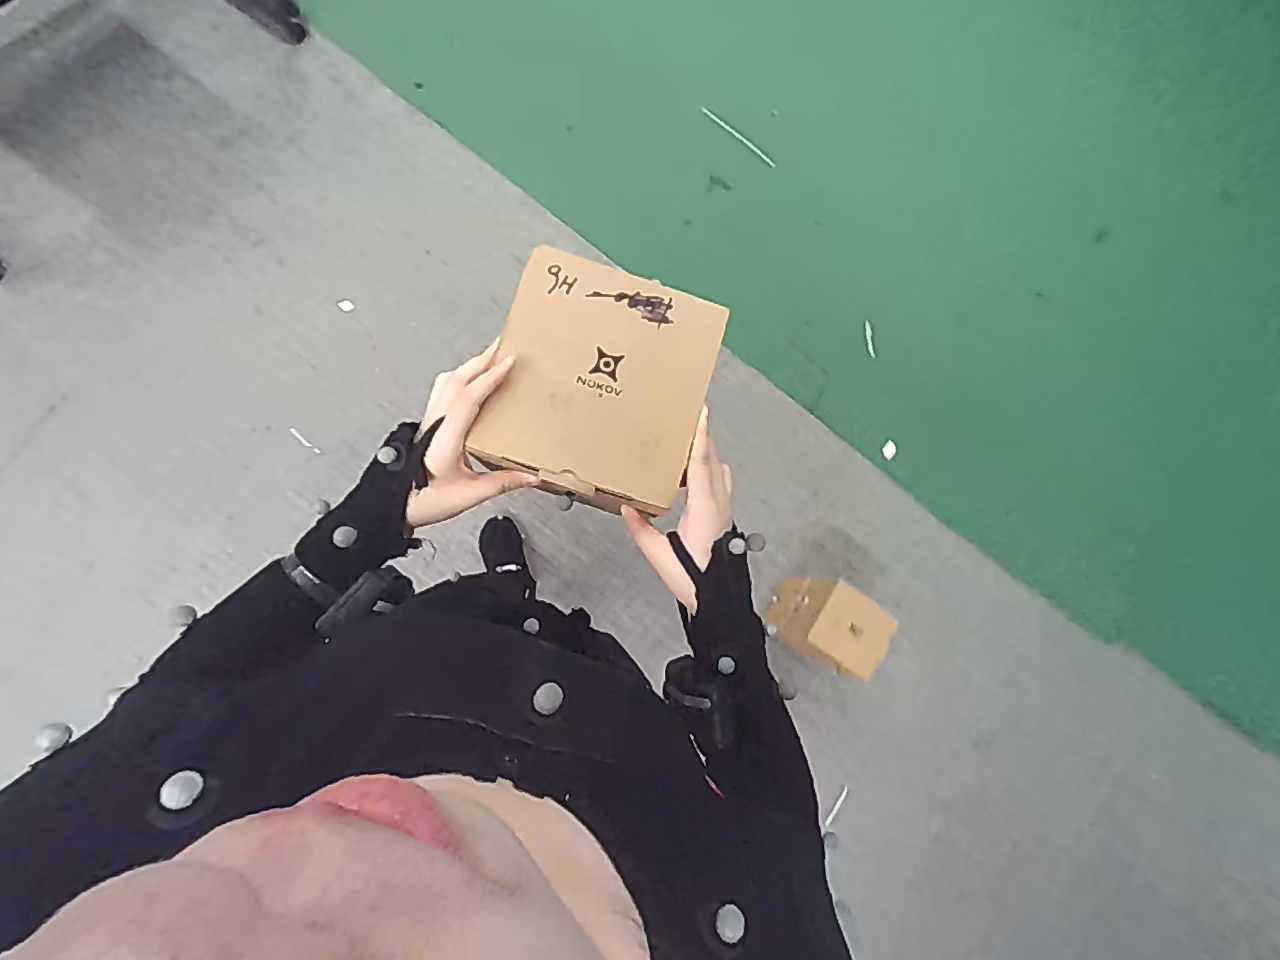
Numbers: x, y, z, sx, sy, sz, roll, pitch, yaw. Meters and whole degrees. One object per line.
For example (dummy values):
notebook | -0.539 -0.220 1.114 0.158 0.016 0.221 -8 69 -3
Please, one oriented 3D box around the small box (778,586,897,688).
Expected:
small box | 0.470 0.369 1.308 0.179 0.176 0.168 37 75 -2

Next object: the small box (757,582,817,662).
small box | 0.451 0.388 1.466 0.179 0.176 0.168 35 77 0
